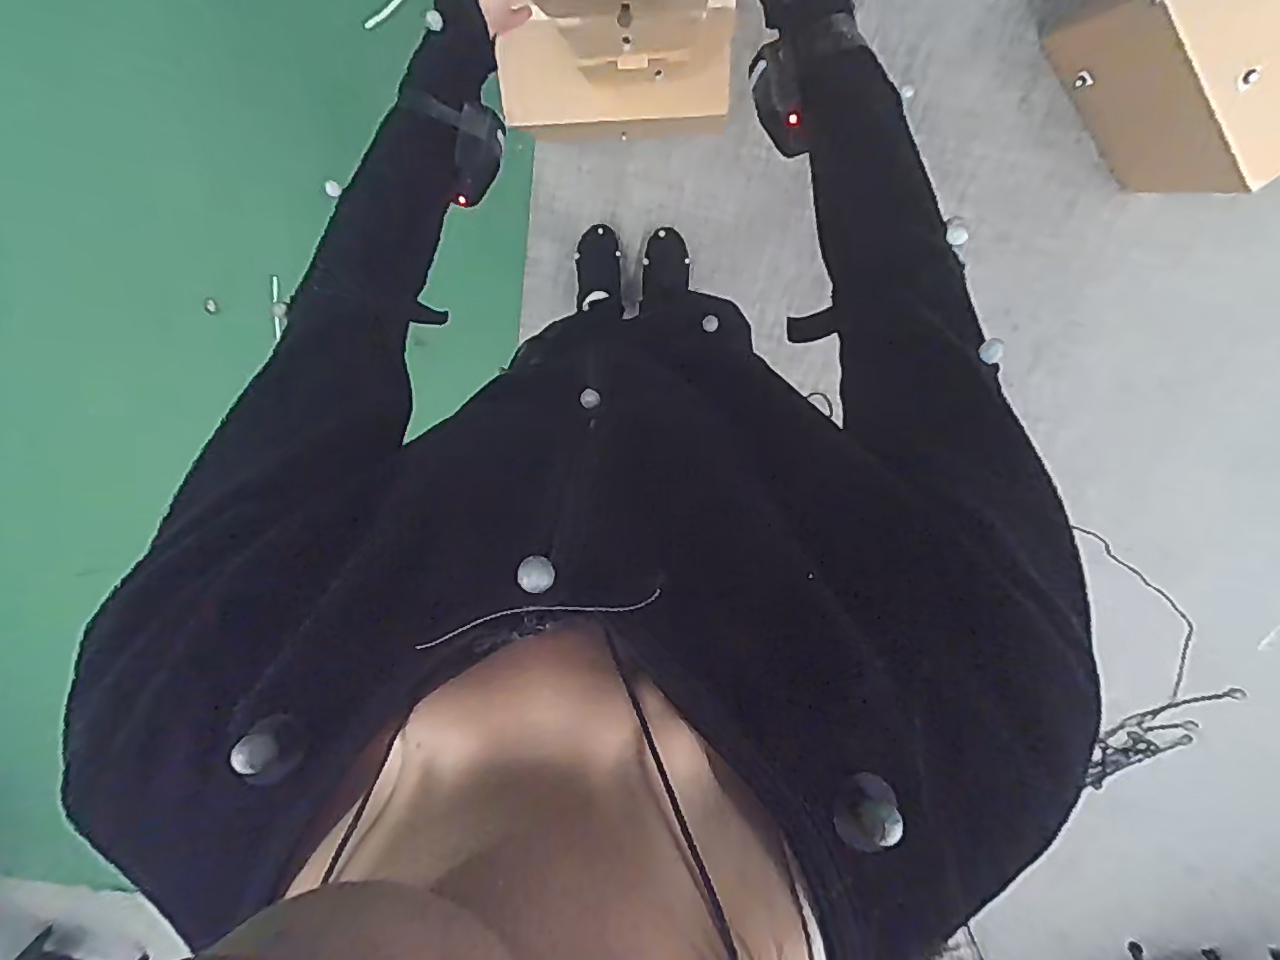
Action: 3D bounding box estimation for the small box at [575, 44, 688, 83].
[{"bbox_3d":[-0.010,-0.714,0.810,0.168,0.176,0.179,-1,117,3],"label":"small box"}]

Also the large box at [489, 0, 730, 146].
[{"bbox_3d":[-0.040,-0.837,1.025,0.408,0.320,0.320,-1,116,5],"label":"large box"}]

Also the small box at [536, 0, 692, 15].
[{"bbox_3d":[-0.022,-0.533,0.473,0.179,0.176,0.168,-1,121,3],"label":"small box"}]

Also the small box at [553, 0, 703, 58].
[{"bbox_3d":[-0.015,-0.642,0.663,0.179,0.176,0.168,-2,117,4],"label":"small box"}]
